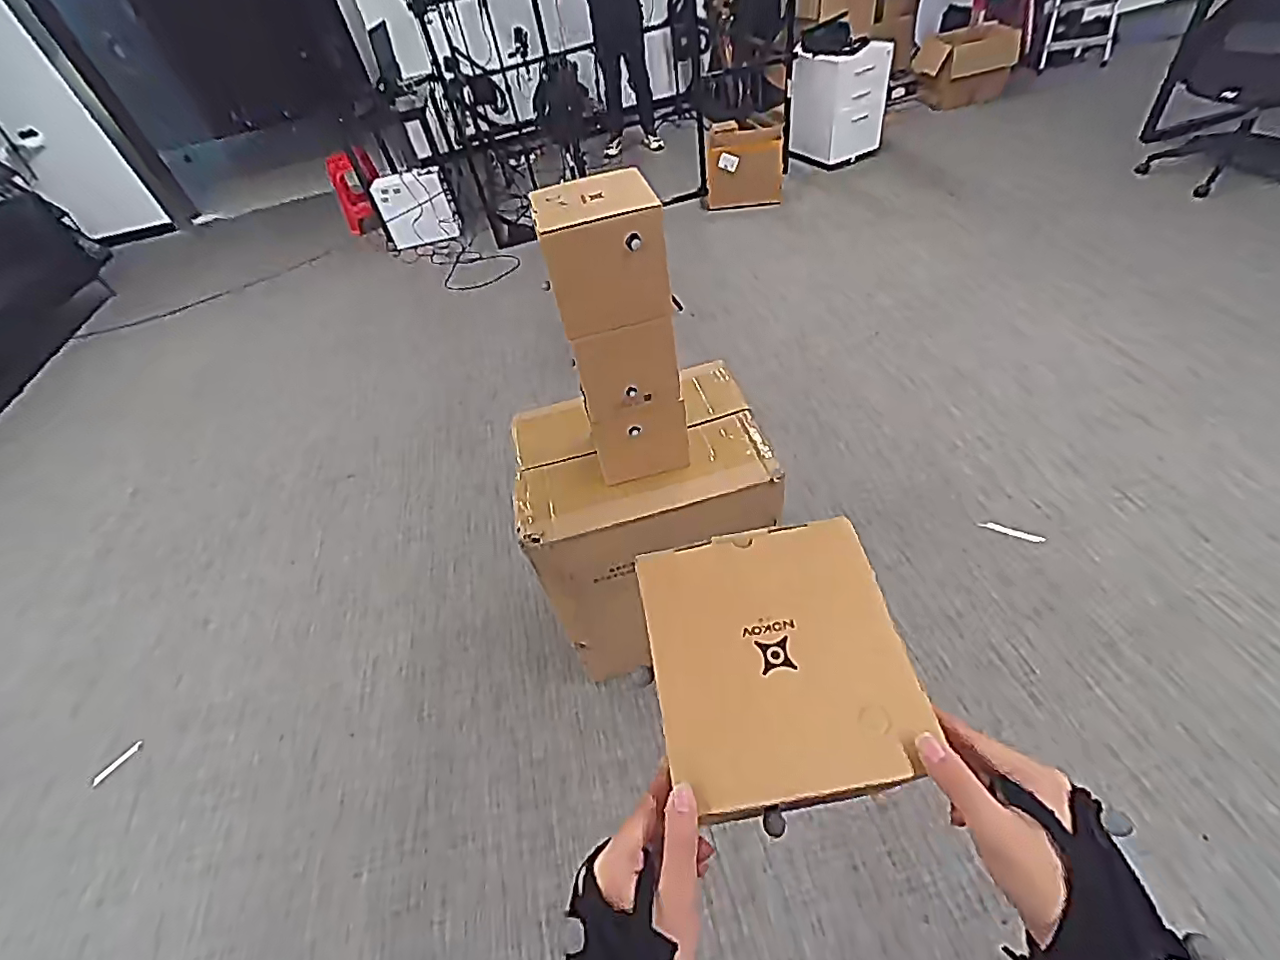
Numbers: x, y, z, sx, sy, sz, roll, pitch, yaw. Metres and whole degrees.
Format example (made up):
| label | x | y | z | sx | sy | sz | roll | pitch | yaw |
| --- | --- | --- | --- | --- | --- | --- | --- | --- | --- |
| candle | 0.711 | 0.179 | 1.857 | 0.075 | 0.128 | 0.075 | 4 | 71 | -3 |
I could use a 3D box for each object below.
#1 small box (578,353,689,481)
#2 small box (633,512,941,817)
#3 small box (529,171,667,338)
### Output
| label | x | y | z | sx | sy | sz | roll | pitch | yaw |
| --- | --- | --- | --- | --- | --- | --- | --- | --- | --- |
| small box | -0.011 | -0.120 | 1.073 | 0.179 | 0.176 | 0.168 | -15 | 46 | -3 |
| small box | 0.097 | 0.154 | 0.428 | 0.168 | 0.176 | 0.179 | -12 | 54 | 1 |
| small box | -0.060 | -0.348 | 0.841 | 0.179 | 0.176 | 0.168 | -15 | 46 | -3 |
